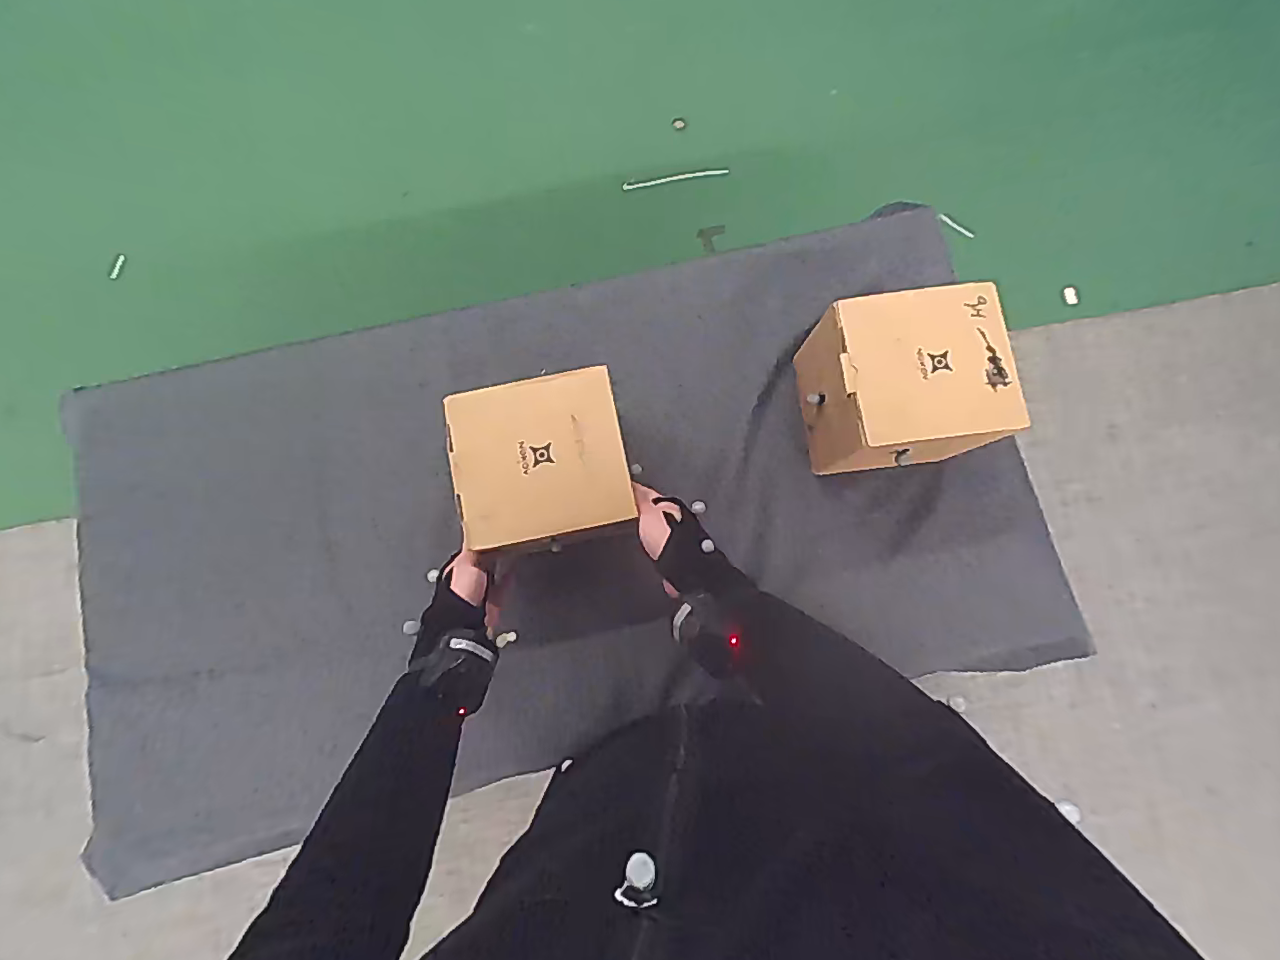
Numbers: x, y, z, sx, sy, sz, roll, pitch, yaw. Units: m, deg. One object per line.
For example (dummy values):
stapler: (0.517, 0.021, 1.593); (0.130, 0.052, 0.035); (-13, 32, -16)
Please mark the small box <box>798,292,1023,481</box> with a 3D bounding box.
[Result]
small box: (0.300, -0.099, 0.647); (0.179, 0.176, 0.168); (-7, 80, -1)
